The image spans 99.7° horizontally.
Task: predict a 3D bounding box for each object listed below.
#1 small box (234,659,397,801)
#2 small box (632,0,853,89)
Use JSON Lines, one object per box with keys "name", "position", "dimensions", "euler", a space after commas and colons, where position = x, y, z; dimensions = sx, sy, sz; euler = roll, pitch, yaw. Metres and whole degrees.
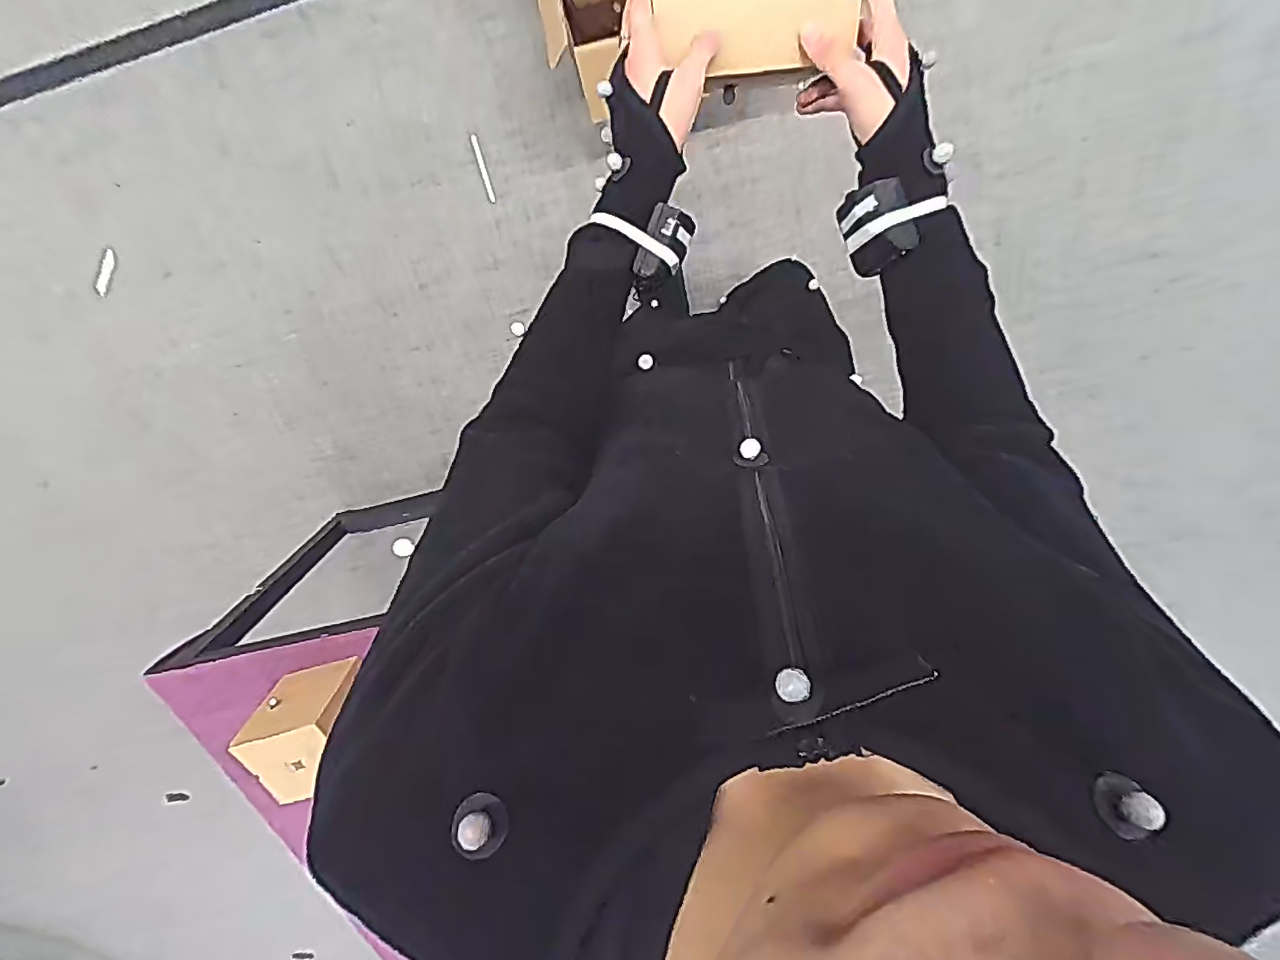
{"name": "small box", "position": [-0.612, 0.478, 1.046], "dimensions": [0.179, 0.176, 0.168], "euler": [-16, 115, 8]}
{"name": "small box", "position": [0.079, -0.452, 0.466], "dimensions": [0.168, 0.176, 0.179], "euler": [-6, 121, -1]}
